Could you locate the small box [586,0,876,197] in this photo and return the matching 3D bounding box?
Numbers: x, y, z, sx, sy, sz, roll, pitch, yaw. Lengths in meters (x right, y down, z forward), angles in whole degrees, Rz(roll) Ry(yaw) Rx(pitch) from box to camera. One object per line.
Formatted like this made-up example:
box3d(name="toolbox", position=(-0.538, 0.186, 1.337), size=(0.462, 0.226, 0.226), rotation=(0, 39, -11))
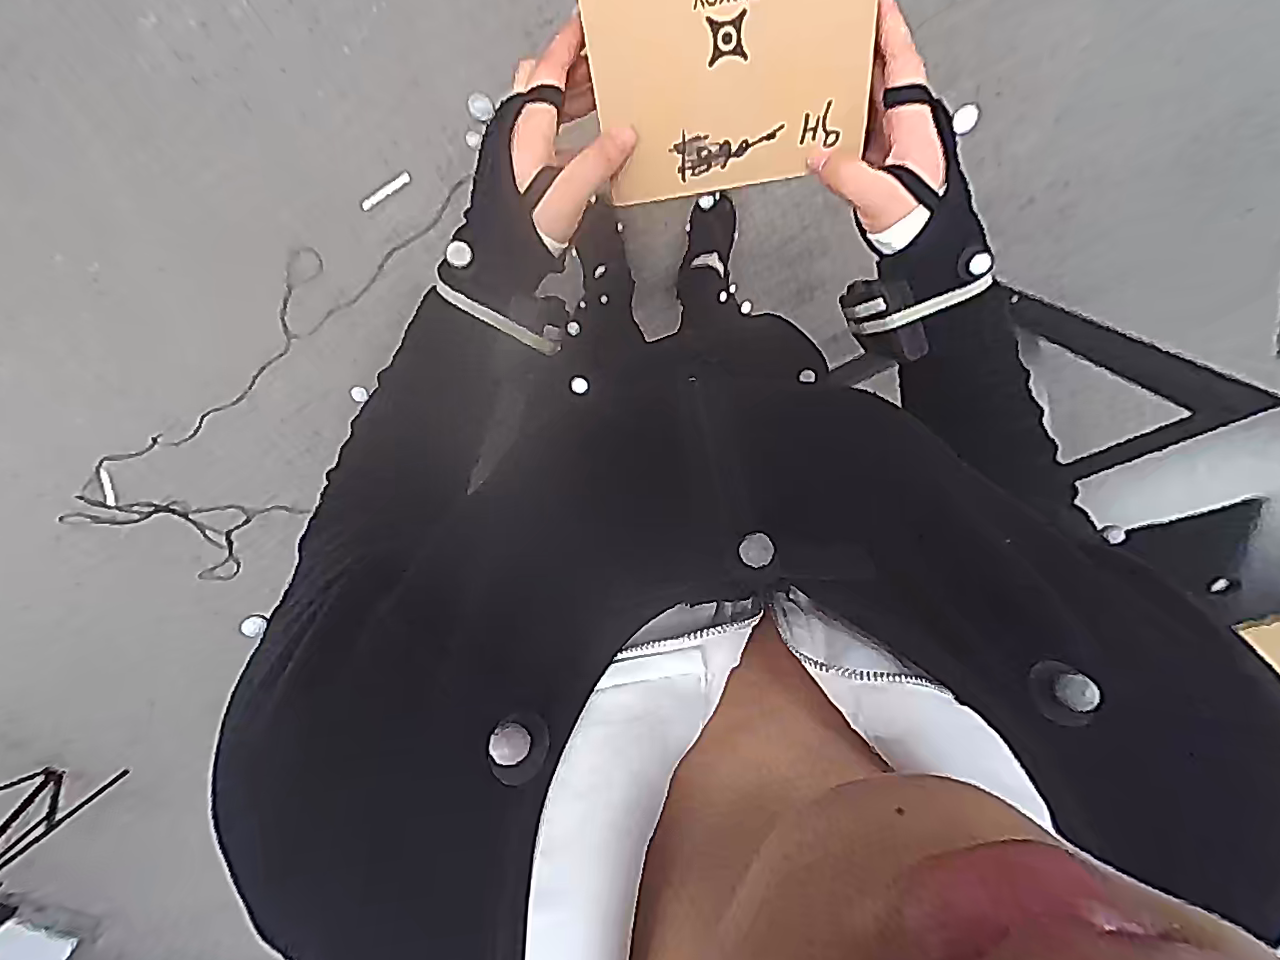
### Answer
box3d(name="small box", position=(0.051, -0.318, 0.370), size=(0.168, 0.176, 0.179), rotation=(-6, 129, 6))
